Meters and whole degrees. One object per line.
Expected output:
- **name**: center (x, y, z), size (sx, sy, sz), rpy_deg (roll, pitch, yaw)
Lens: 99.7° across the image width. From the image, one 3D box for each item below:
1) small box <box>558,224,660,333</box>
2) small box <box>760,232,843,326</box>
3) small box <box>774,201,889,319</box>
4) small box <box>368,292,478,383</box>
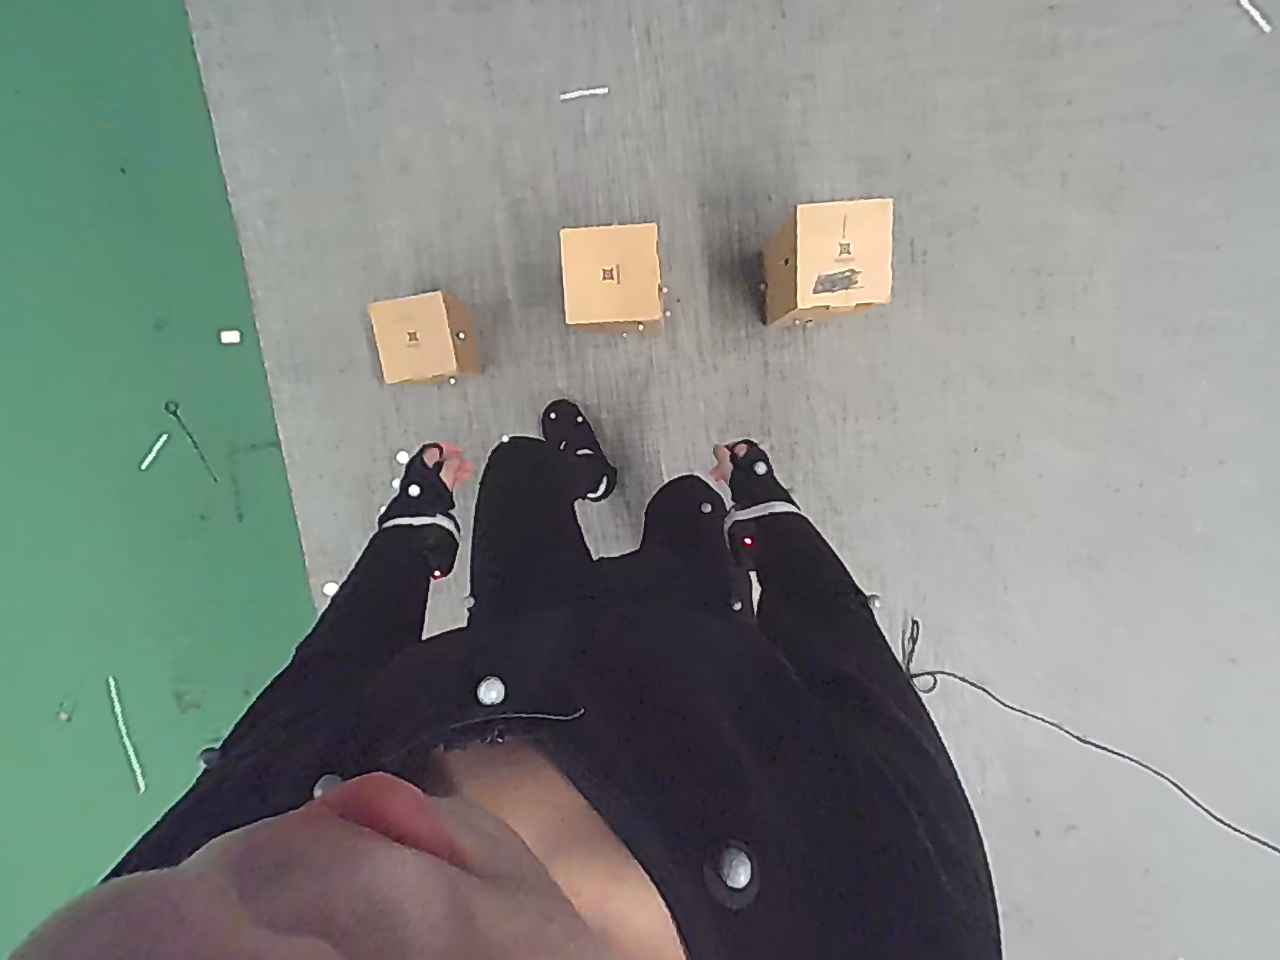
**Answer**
- **small box**: center (-0.052, -0.380, 1.044), size (0.179, 0.176, 0.168), rpy_deg (-2, 99, 3)
- **small box**: center (0.360, -0.435, 1.182), size (0.168, 0.176, 0.179), rpy_deg (-3, 100, 3)
- **small box**: center (0.352, -0.403, 1.020), size (0.168, 0.176, 0.179), rpy_deg (-2, 99, 3)
- **small box**: center (-0.487, -0.319, 1.242), size (0.168, 0.176, 0.179), rpy_deg (-7, 99, 3)
